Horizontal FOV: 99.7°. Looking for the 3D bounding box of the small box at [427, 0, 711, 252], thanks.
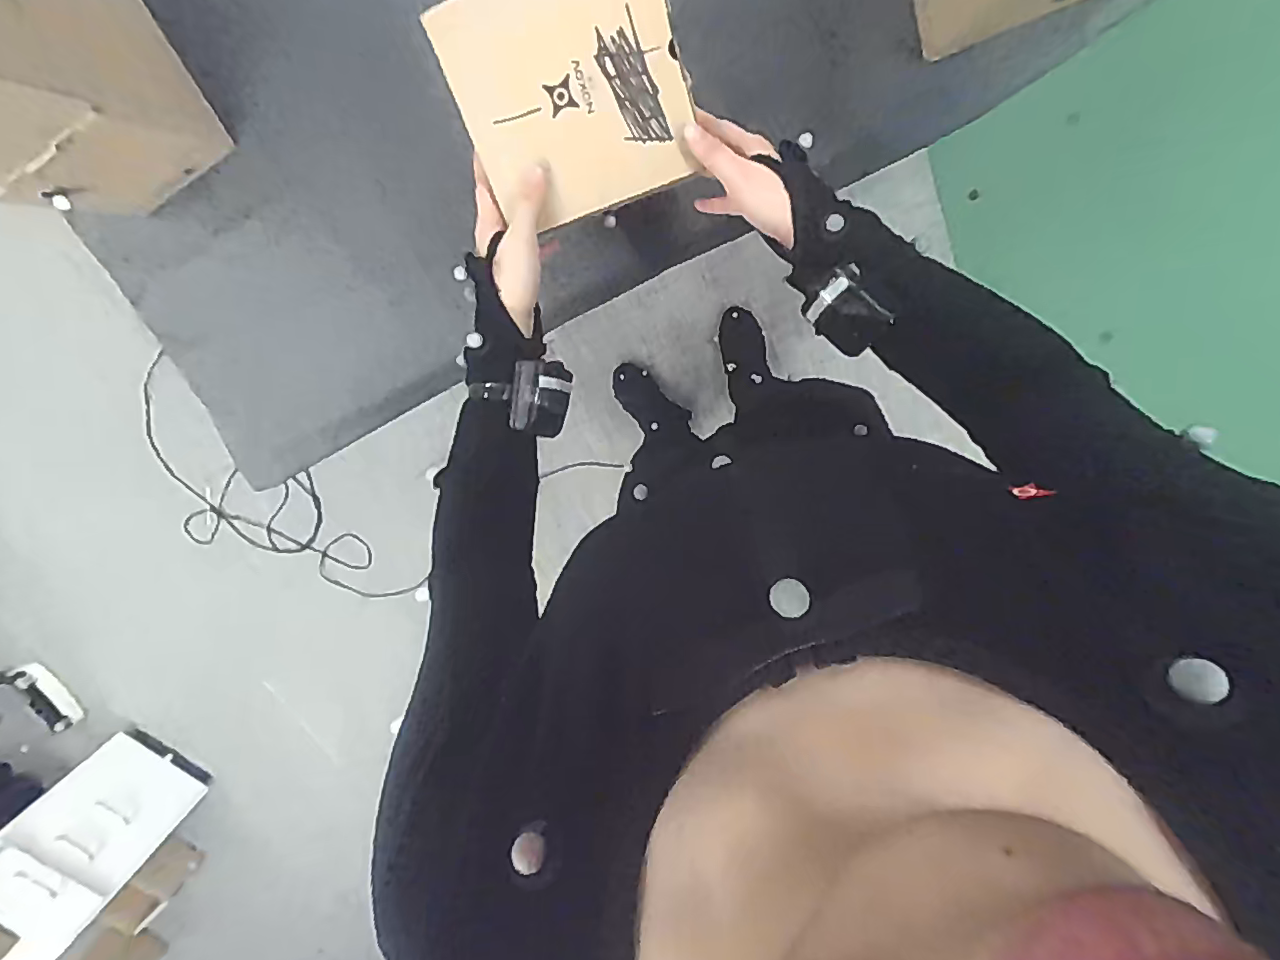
[{"bbox_3d":[-0.048,-0.321,0.480,0.179,0.176,0.168,-16,116,9],"label":"small box"}]
